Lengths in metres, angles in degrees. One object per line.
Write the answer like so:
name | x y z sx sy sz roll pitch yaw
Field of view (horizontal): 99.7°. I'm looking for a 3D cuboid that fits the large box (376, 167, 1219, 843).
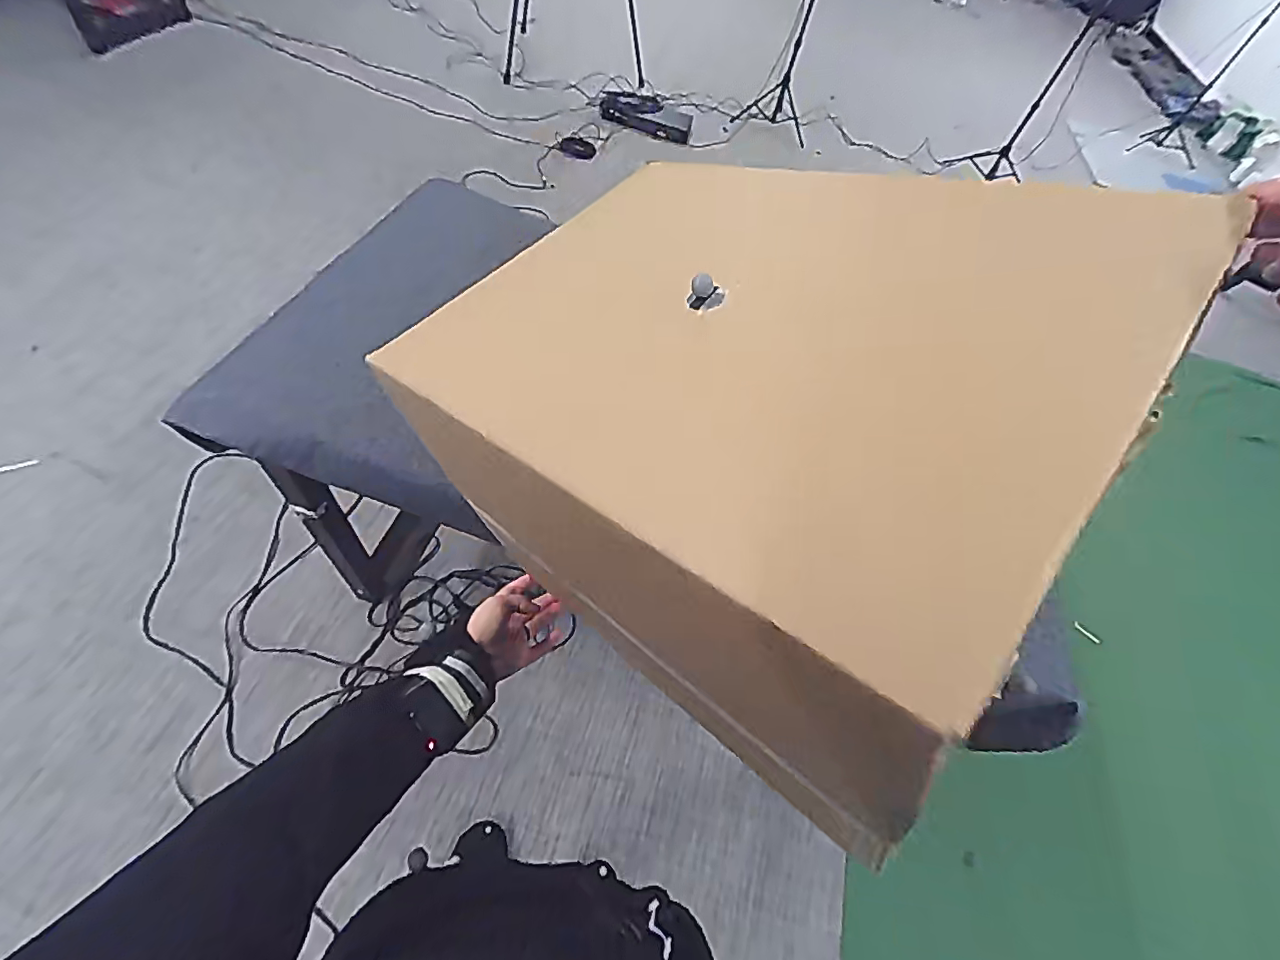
large box | 0.084 -0.006 0.432 0.408 0.320 0.320 28 64 35
